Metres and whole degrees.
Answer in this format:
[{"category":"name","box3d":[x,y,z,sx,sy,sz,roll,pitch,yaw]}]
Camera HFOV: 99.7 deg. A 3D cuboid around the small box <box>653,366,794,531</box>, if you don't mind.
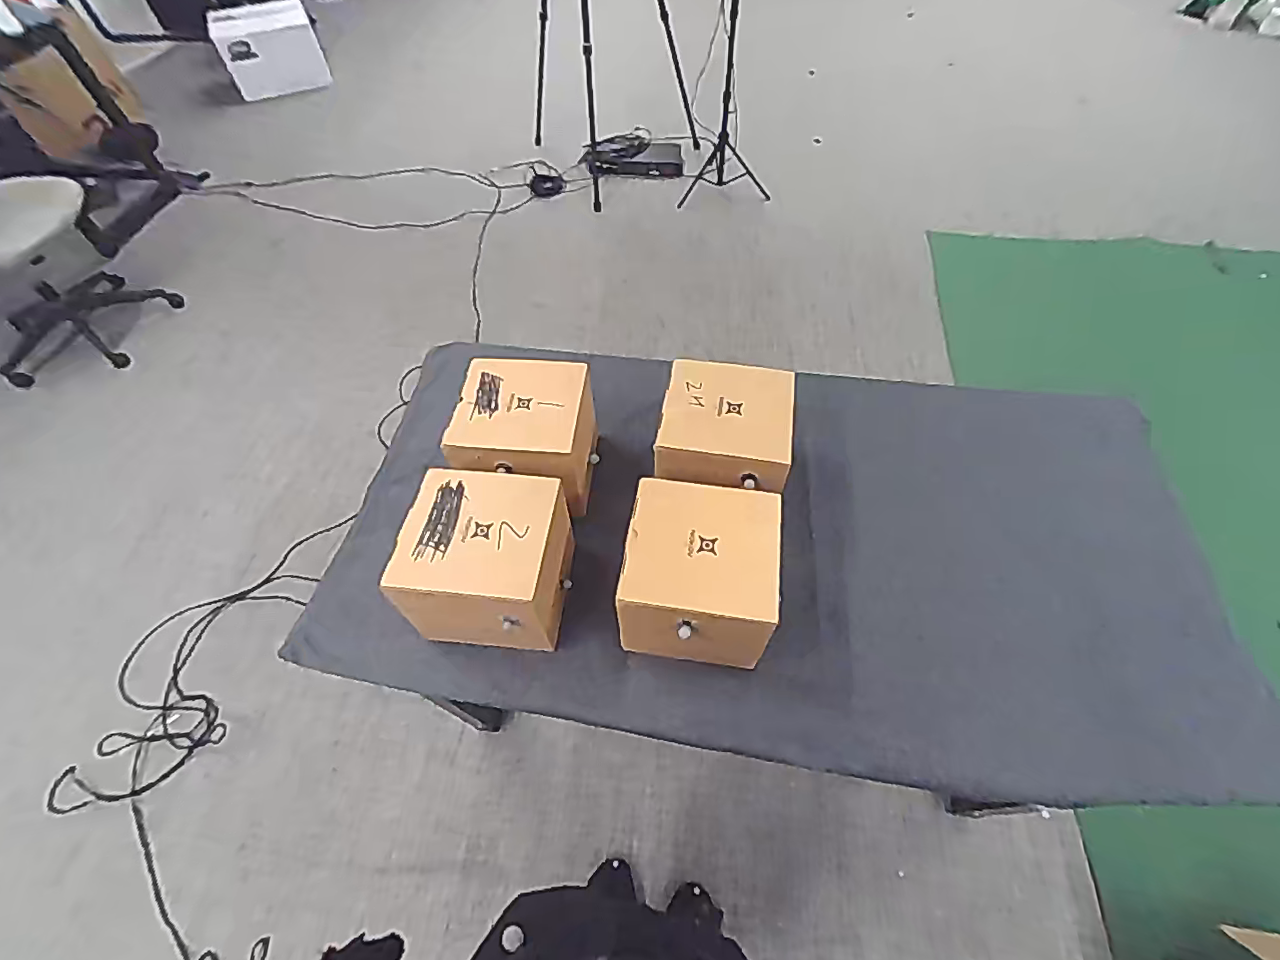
[{"category":"small box","box3d":[0.118,-0.040,0.796,0.179,0.176,0.168,8,56,8]}]
